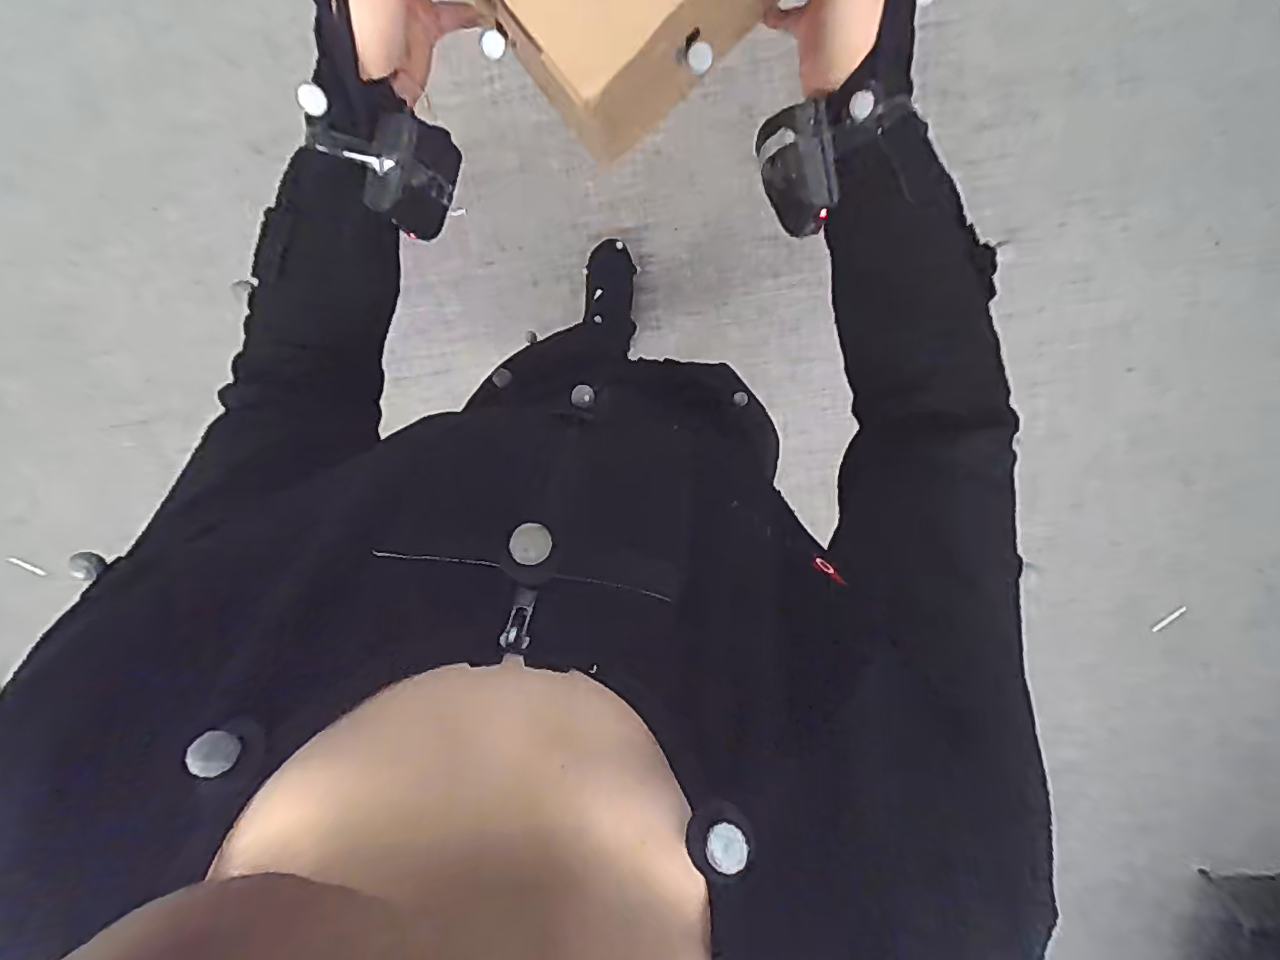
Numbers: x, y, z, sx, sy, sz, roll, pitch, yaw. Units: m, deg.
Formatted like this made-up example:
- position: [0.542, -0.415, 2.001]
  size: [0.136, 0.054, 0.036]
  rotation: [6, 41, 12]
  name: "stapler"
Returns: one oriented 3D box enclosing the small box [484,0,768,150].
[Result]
- position: [-0.014, -0.320, 0.292]
  size: [0.179, 0.176, 0.168]
  rotation: [-39, 106, 14]
  name: "small box"
